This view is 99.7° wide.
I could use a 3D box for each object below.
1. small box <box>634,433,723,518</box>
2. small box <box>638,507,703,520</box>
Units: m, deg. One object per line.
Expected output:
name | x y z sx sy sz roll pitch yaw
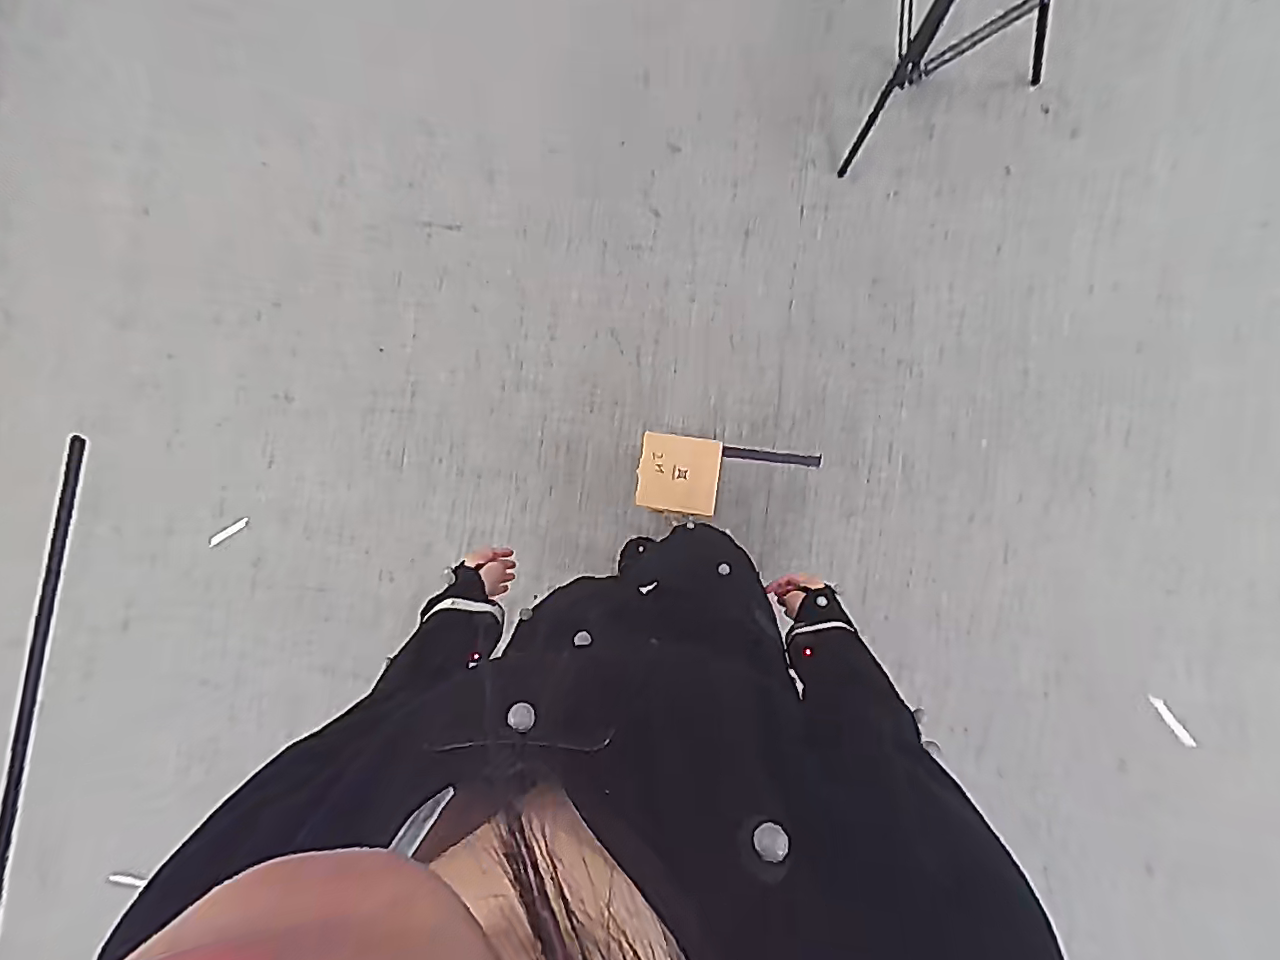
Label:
small box | 0.088 -0.007 1.255 0.179 0.176 0.168 8 86 4
small box | 0.095 0.005 1.421 0.168 0.176 0.179 9 88 4
